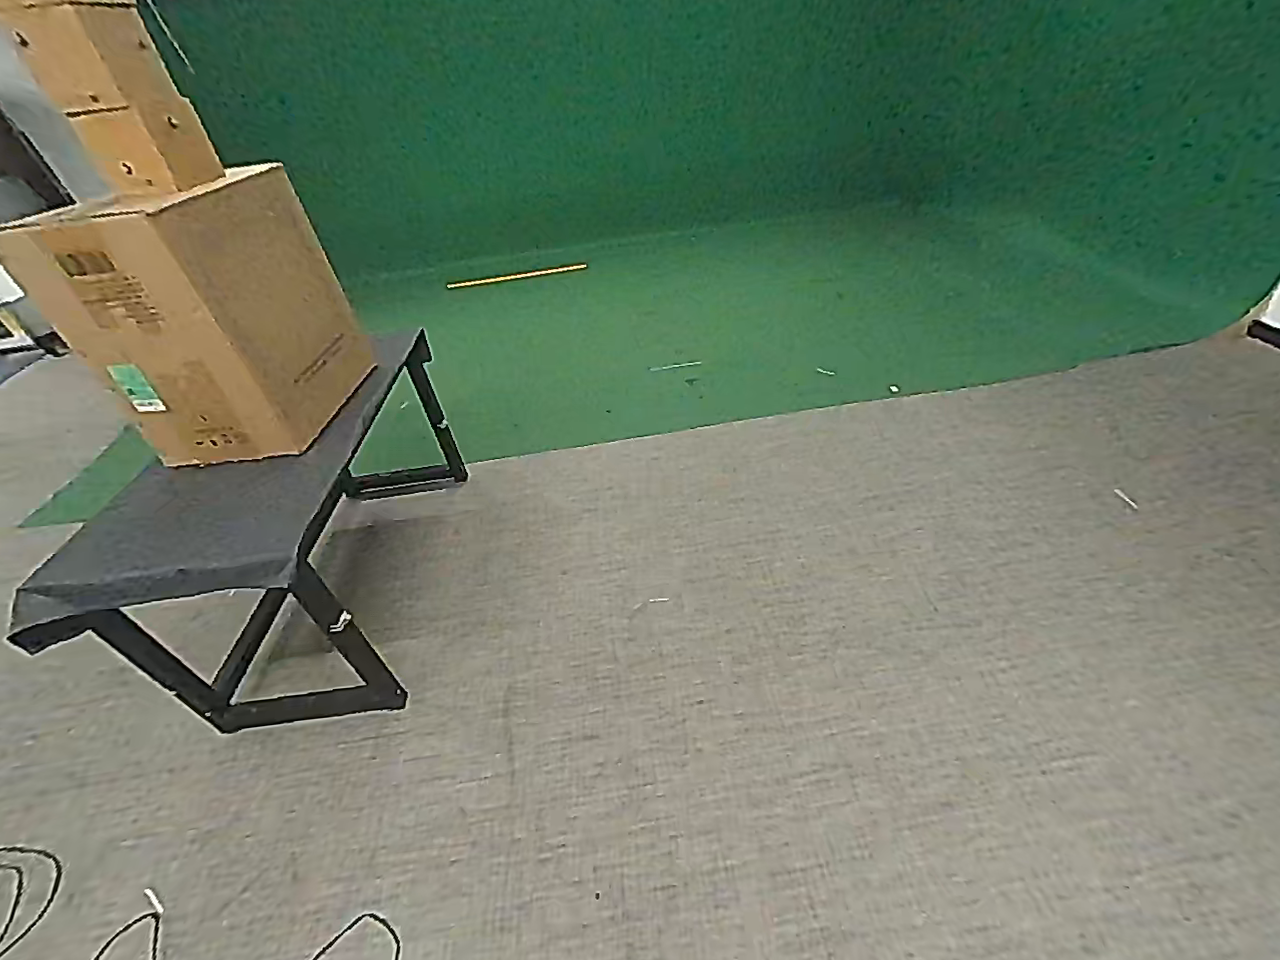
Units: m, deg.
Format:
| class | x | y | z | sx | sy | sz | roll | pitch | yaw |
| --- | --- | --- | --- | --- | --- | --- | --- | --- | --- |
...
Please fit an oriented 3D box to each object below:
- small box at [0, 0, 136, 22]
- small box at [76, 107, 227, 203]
| class | x | y | z | sx | sy | sz | roll | pitch | yaw |
| --- | --- | --- | --- | --- | --- | --- | --- | --- | --- |
| small box | -1.155 | -1.010 | 1.056 | 0.168 | 0.176 | 0.179 | -1 | 40 | 6 |
| small box | -1.126 | -0.762 | 1.270 | 0.168 | 0.176 | 0.179 | -2 | 40 | 4 |
